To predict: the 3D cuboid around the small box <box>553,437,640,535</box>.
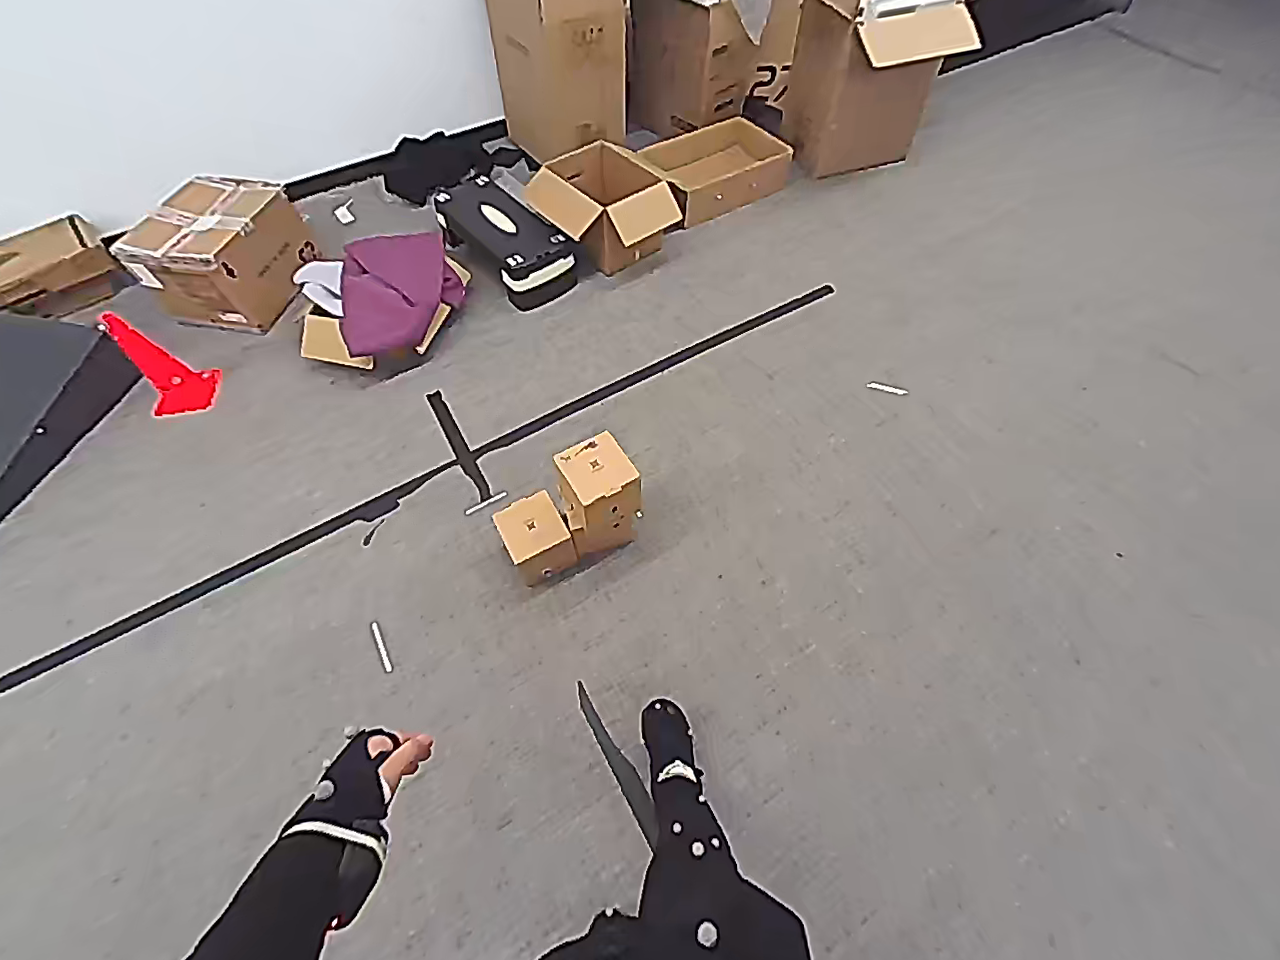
[{"bbox_3d":[-0.110,0.025,1.438,0.168,0.176,0.179,-27,61,-16],"label":"small box"}]
